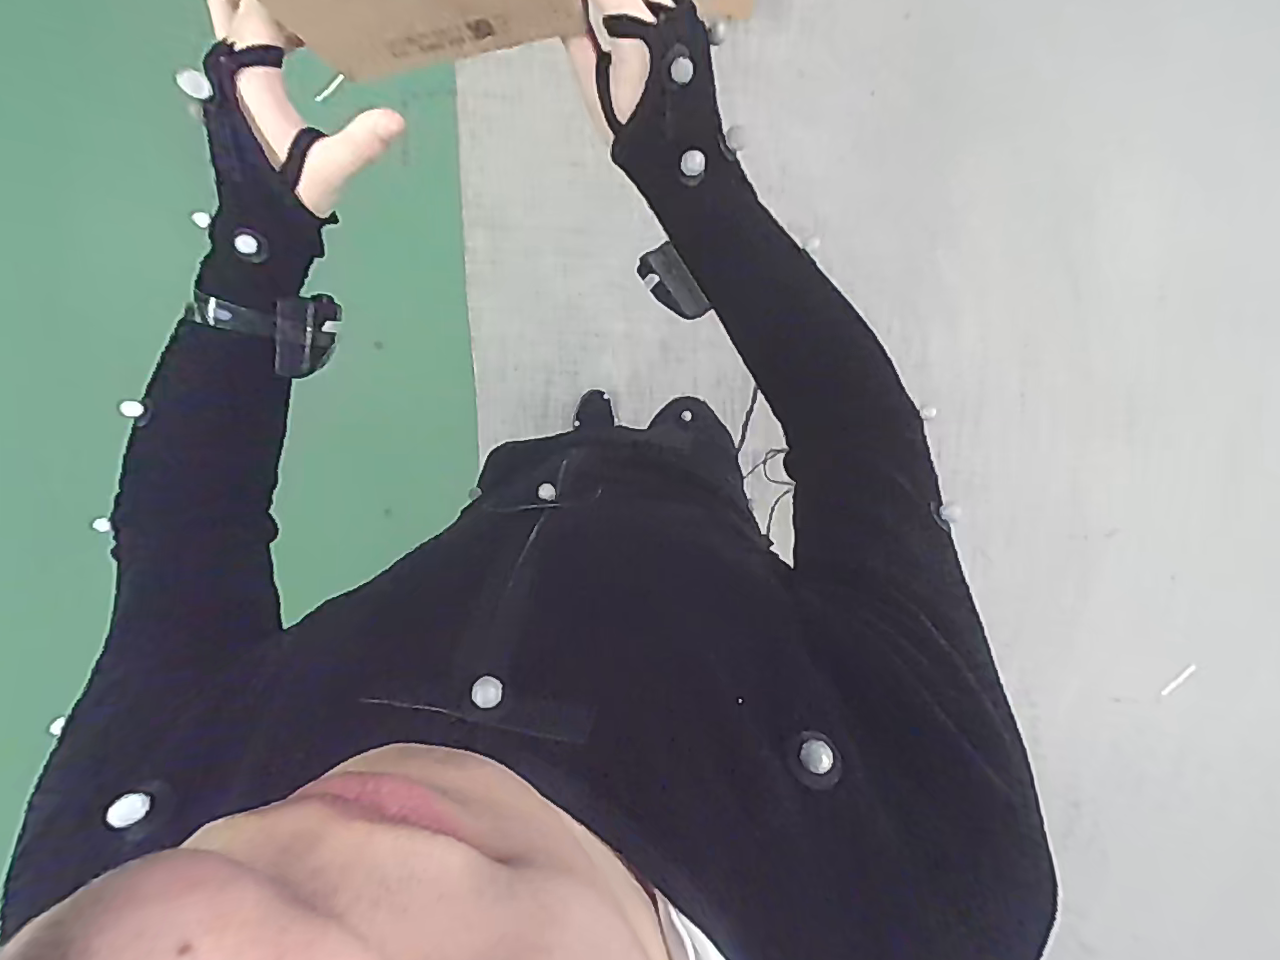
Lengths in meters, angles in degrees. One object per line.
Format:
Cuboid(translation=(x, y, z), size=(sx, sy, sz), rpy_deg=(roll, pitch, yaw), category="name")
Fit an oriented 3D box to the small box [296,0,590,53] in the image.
Cuboid(translation=(-0.124, -0.346, 0.254), size=(0.168, 0.176, 0.179), rpy_deg=(-3, 95, 11), category="small box")
